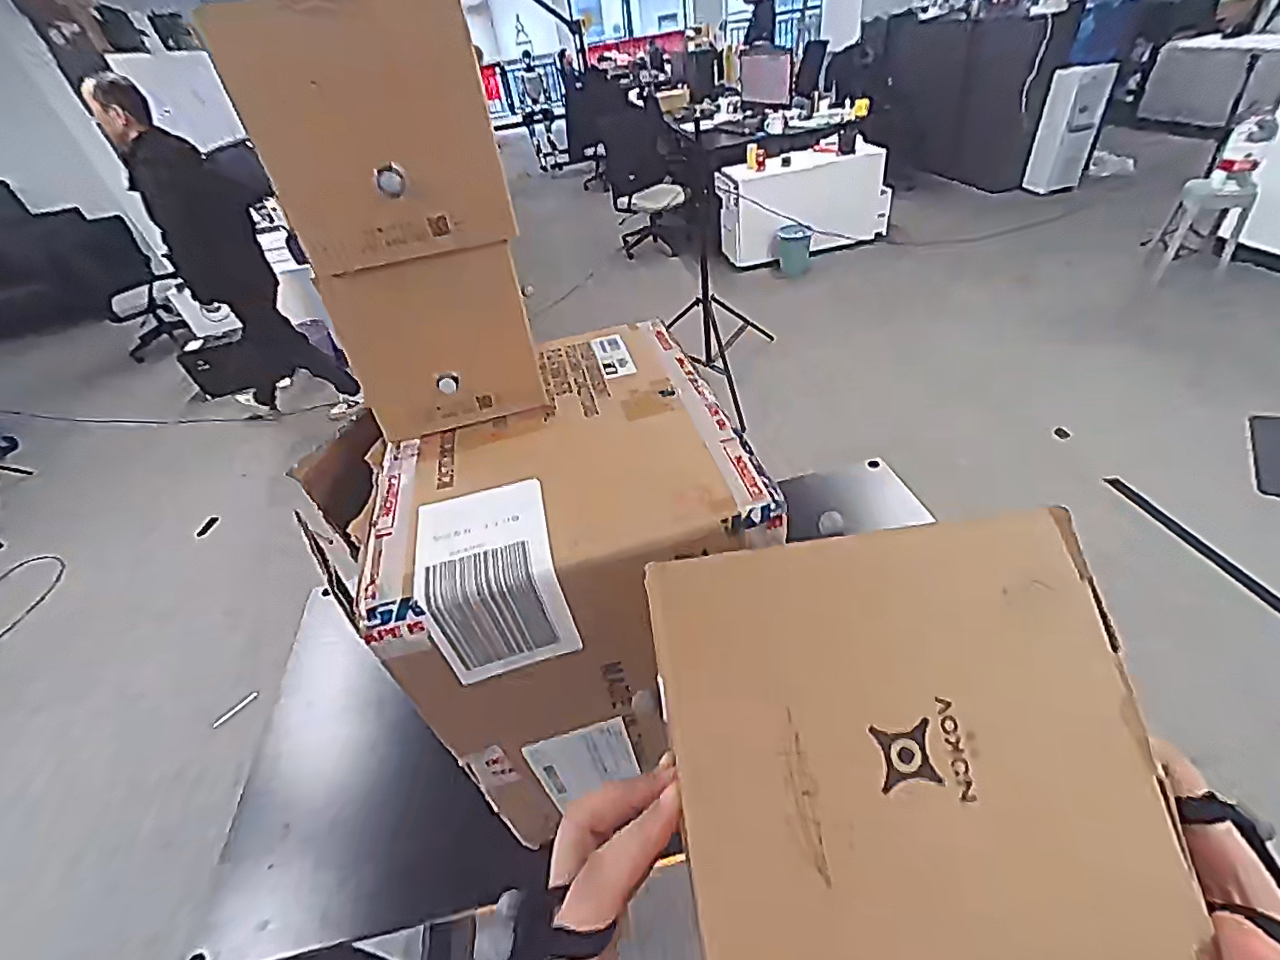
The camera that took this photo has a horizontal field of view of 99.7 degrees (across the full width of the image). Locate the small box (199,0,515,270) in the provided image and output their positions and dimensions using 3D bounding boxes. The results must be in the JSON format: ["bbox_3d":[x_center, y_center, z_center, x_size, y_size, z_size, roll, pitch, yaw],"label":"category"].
[{"bbox_3d":[-0.216,-0.296,0.465,0.168,0.176,0.179,-17,39,-9],"label":"small box"}]

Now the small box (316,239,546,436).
[{"bbox_3d":[-0.205,-0.172,0.573,0.168,0.176,0.179,-15,39,-8],"label":"small box"}]

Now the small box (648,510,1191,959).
[{"bbox_3d":[0.101,0.120,0.286,0.179,0.176,0.168,-9,75,-1],"label":"small box"}]
